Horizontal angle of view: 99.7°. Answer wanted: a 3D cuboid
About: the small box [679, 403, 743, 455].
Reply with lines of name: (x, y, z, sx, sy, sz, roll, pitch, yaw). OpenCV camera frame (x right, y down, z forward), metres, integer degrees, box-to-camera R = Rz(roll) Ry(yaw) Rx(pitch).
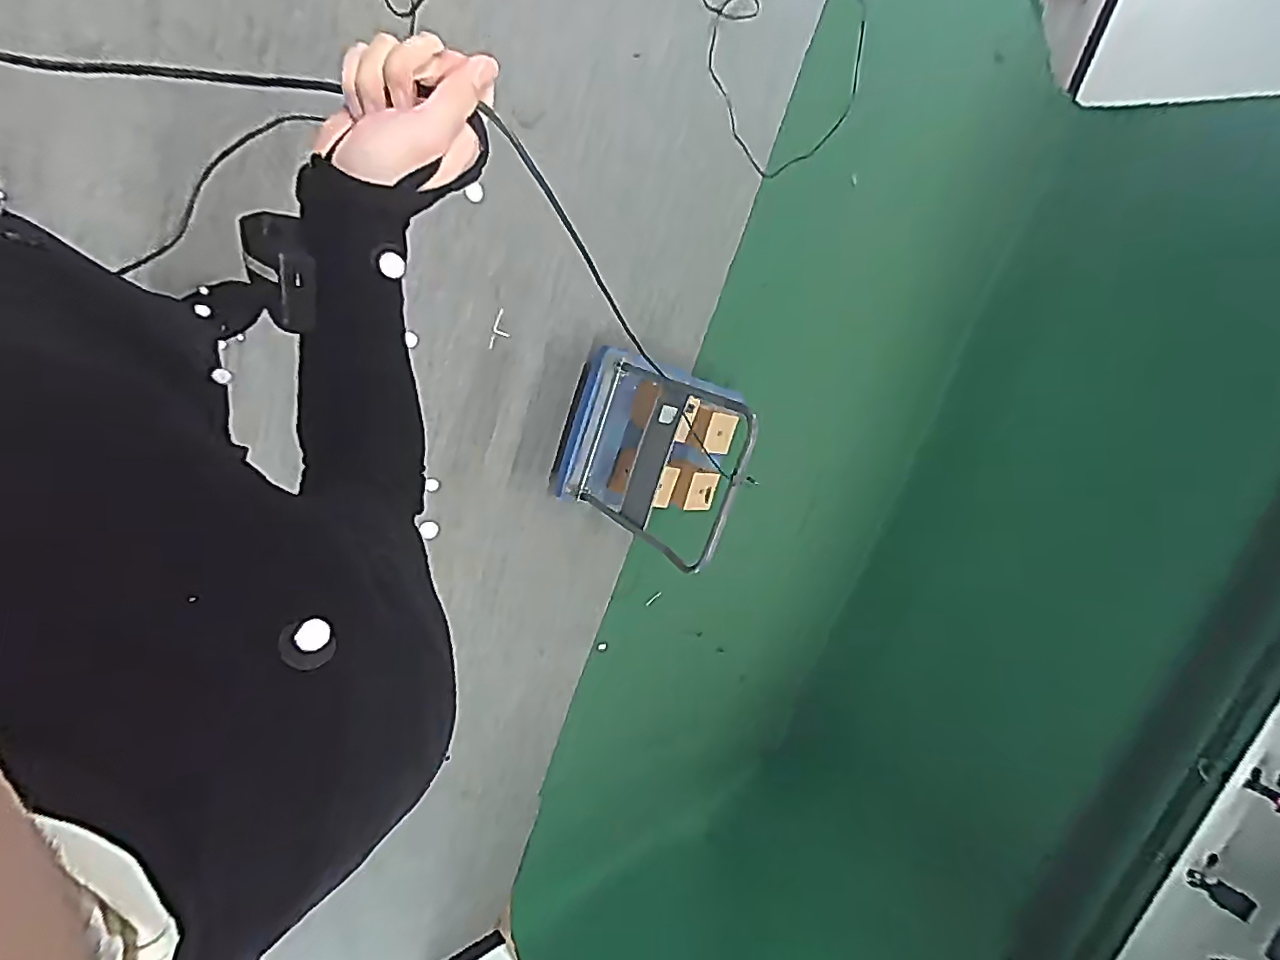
small box: (0.288, -0.211, 2.220, 0.179, 0.176, 0.168, 2, 110, -45)

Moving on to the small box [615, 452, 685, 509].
small box: (0.037, 0.000, 2.084, 0.179, 0.176, 0.168, 9, 104, -46)

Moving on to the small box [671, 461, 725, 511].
small box: (0.222, 0.024, 2.279, 0.179, 0.176, 0.168, 3, 108, -44)
